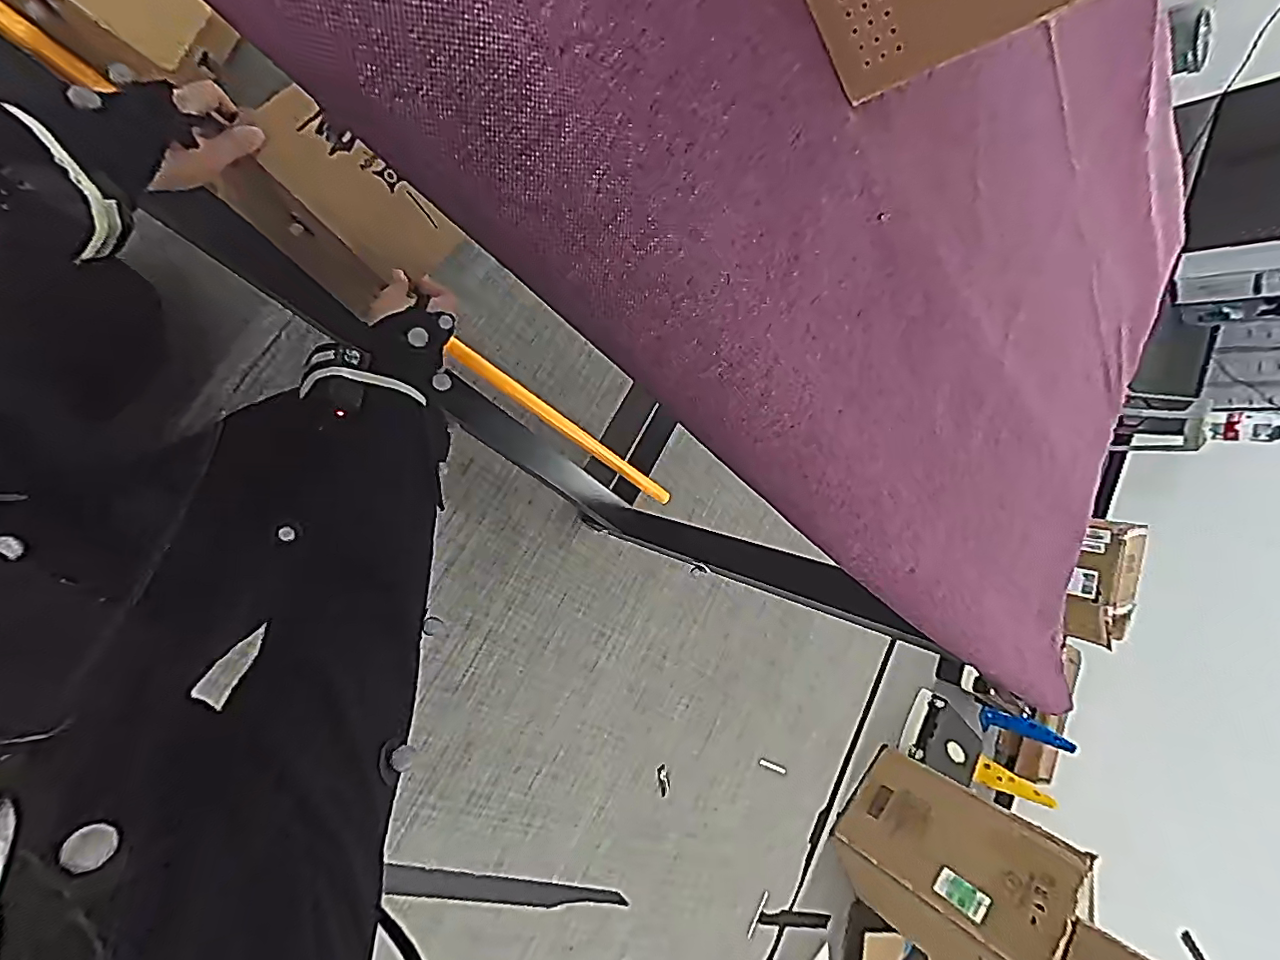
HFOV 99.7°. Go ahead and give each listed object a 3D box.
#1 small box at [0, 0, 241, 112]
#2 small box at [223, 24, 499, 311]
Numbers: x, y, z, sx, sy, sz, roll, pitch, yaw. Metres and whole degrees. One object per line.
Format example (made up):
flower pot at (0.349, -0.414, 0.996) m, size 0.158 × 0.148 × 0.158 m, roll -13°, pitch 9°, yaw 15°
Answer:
small box at (-0.516, -0.500, 0.522) m, size 0.179 × 0.176 × 0.168 m, roll 29°, pitch 79°, yaw -38°
small box at (-0.291, -0.301, 0.562) m, size 0.179 × 0.176 × 0.168 m, roll 46°, pitch 66°, yaw -35°
